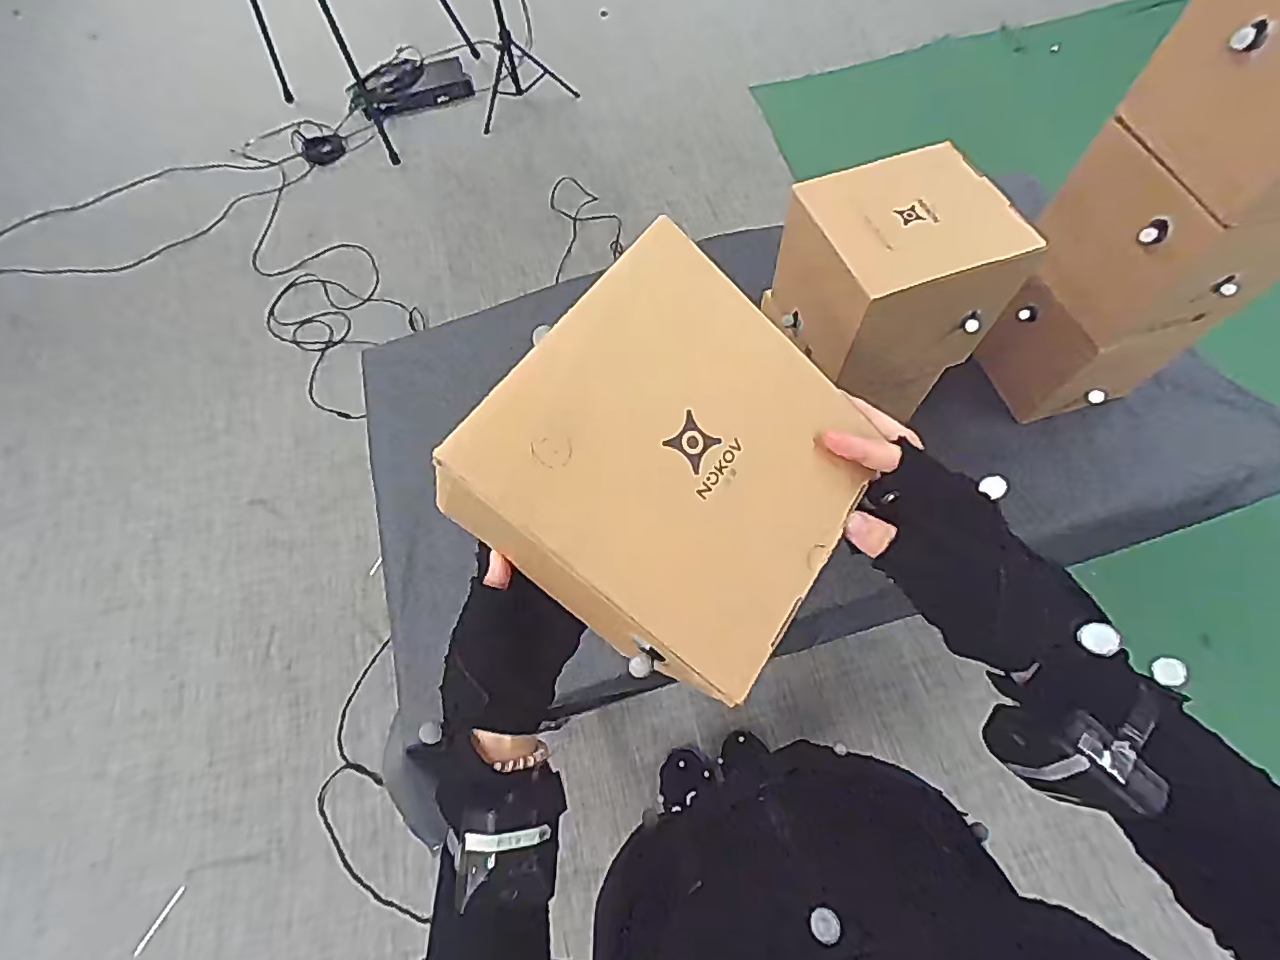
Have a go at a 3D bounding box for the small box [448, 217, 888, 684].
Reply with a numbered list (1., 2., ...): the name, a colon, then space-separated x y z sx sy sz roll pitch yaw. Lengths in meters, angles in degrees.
1. small box: 0.001 -0.007 0.333 0.179 0.176 0.168 41 70 -12

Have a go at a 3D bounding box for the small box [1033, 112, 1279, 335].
1. small box: 0.580 -0.280 0.589 0.168 0.176 0.179 -13 64 -2

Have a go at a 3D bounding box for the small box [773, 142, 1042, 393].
1. small box: 0.265 -0.218 0.586 0.179 0.176 0.168 -18 64 -4

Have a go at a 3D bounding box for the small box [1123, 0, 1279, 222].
1. small box: 0.566 -0.348 0.440 0.168 0.176 0.179 -12 64 0
